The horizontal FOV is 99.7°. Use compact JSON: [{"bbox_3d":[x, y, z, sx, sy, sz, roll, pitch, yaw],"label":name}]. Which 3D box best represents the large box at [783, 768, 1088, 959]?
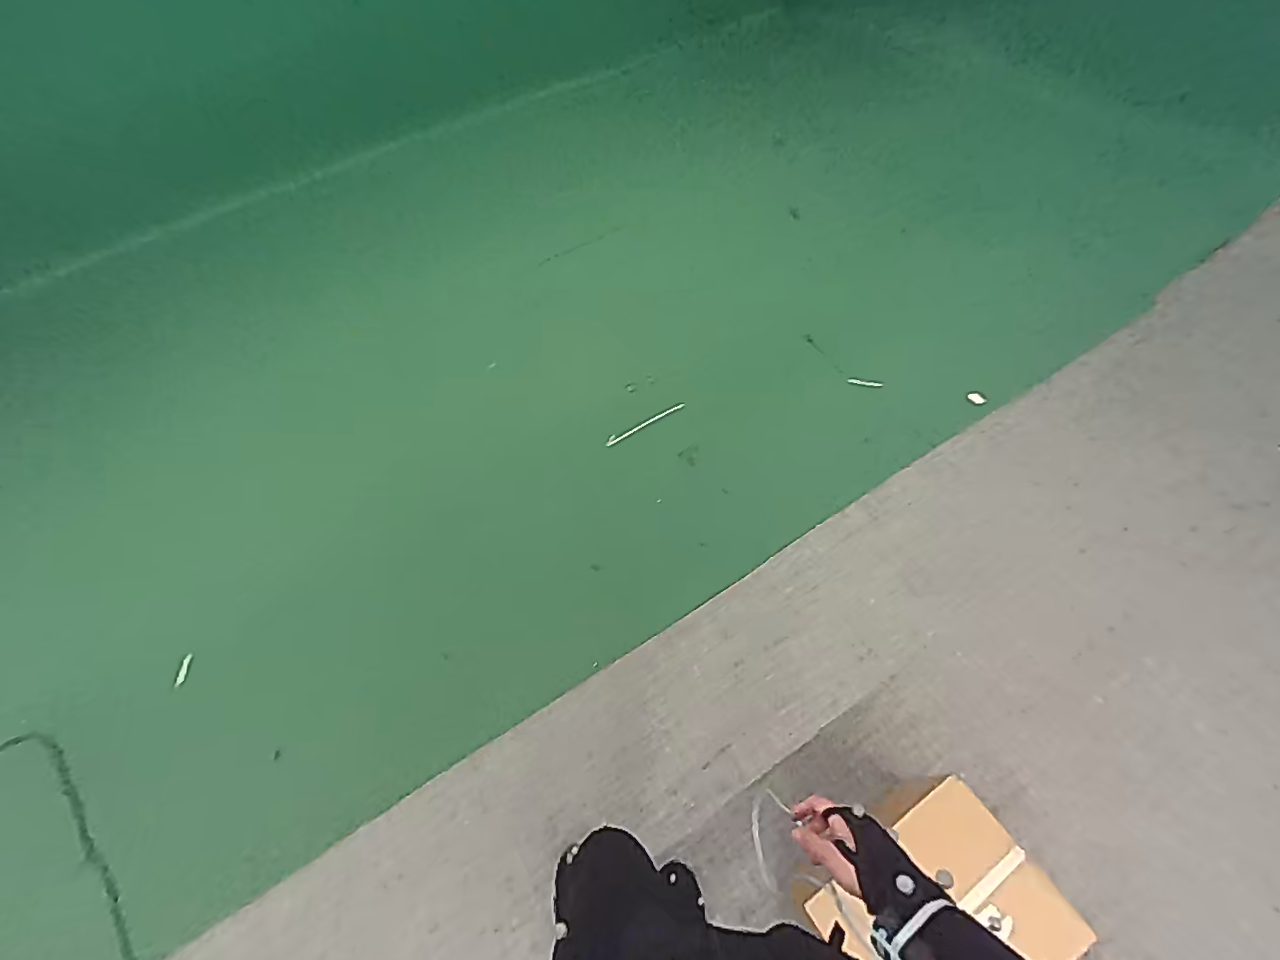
[{"bbox_3d":[0.560,0.868,1.104,0.408,0.320,0.320,-31,61,-14],"label":"large box"}]
